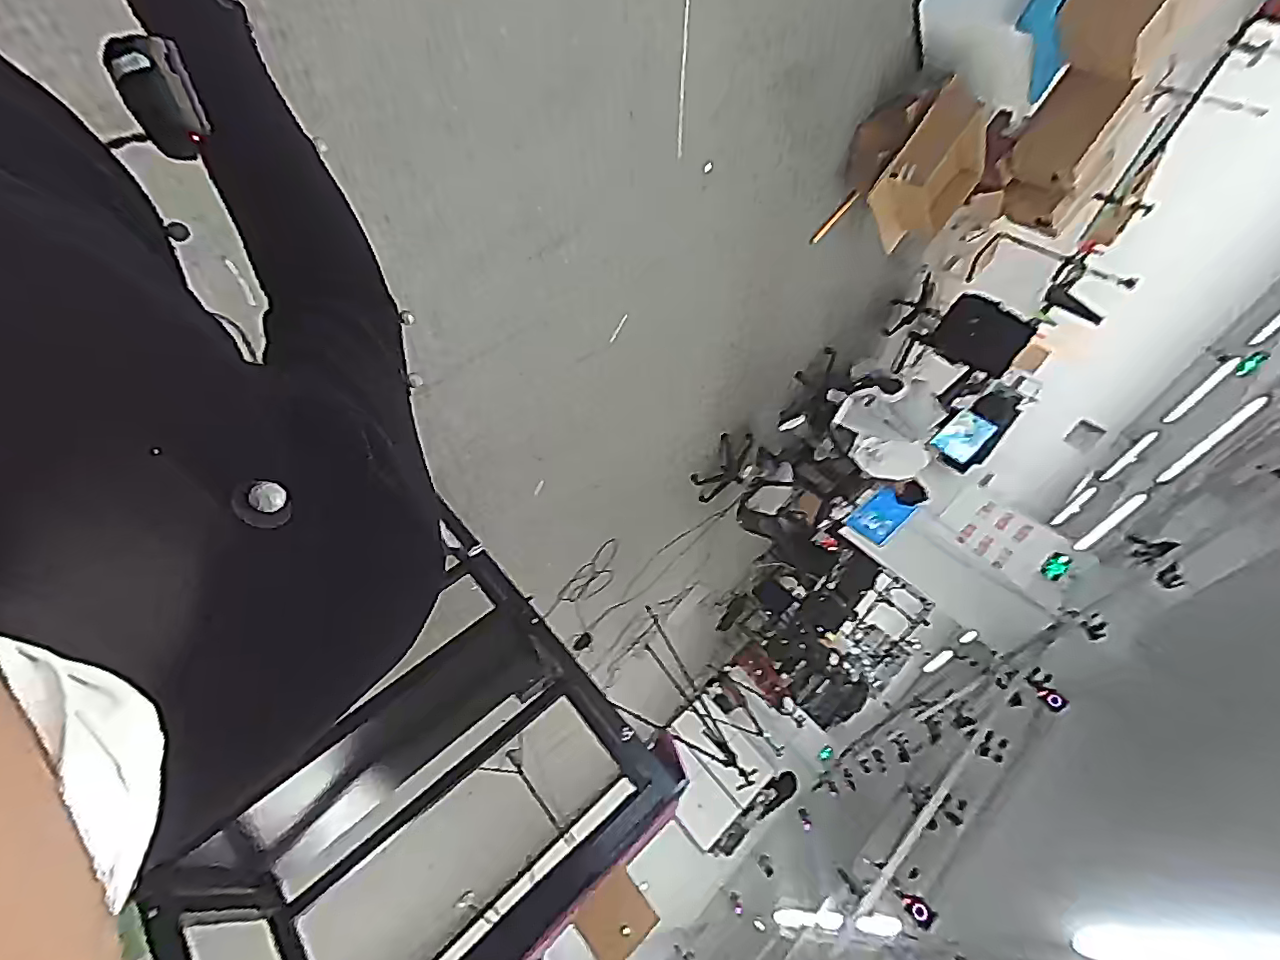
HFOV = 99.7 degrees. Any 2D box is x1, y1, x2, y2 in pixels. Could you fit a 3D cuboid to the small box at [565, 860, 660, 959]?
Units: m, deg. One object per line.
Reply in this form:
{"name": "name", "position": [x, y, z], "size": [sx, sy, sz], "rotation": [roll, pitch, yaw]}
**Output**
{"name": "small box", "position": [-0.073, 1.121, 1.391], "size": [0.179, 0.176, 0.168], "rotation": [-34, 150, -26]}
